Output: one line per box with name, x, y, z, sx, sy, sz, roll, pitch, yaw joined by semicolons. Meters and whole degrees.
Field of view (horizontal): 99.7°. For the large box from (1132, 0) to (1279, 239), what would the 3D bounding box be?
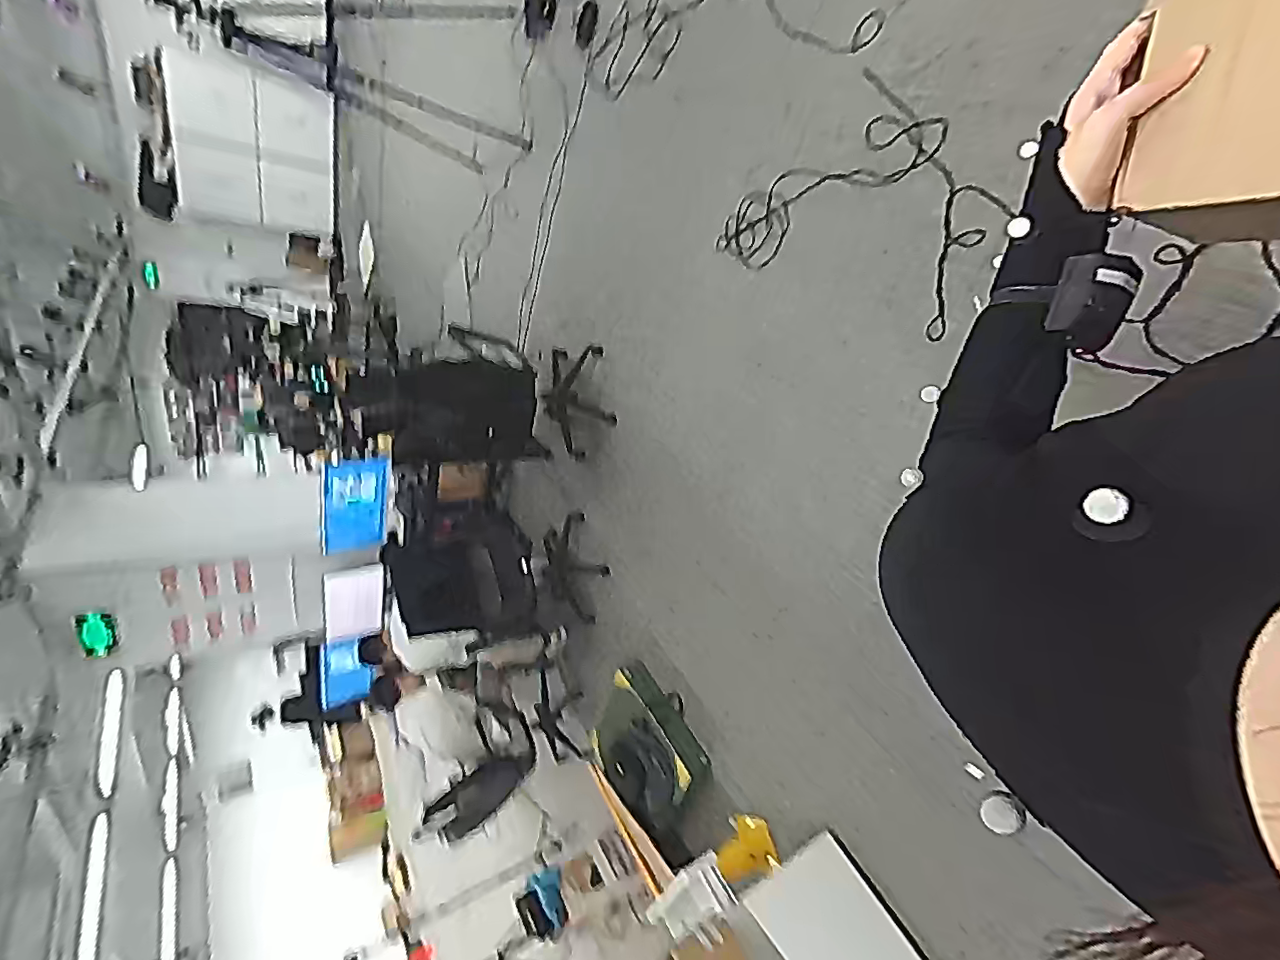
large box;0.607;-0.336;0.307;0.408;0.320;0.320;21;117;48
